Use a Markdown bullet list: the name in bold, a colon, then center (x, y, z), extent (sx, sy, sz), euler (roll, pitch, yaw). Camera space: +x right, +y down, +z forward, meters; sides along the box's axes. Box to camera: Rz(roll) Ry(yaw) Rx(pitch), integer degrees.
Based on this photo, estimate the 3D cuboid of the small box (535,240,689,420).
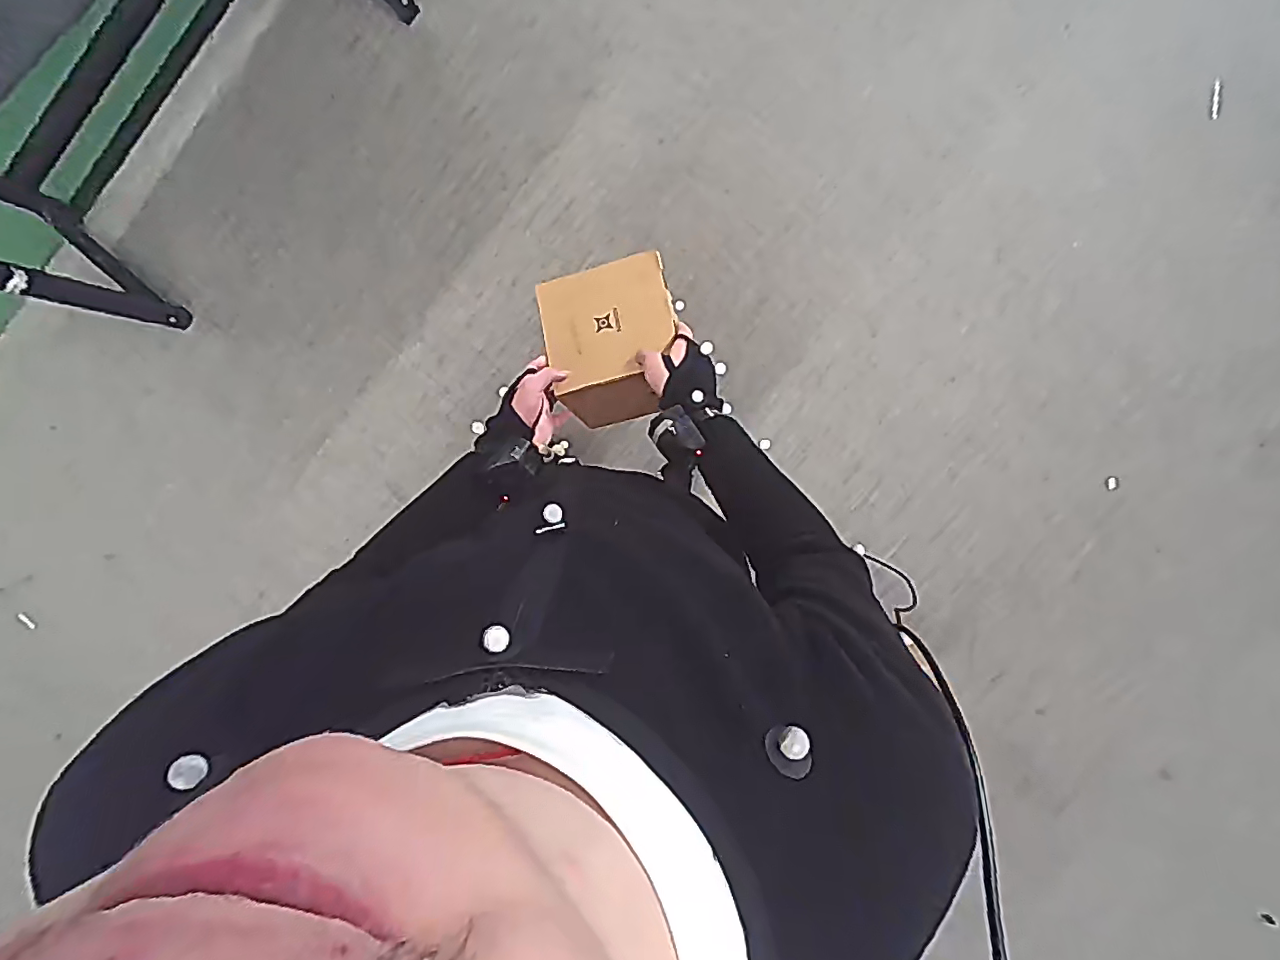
- **small box**: center (-0.030, -0.200, 0.768), extent (0.179, 0.176, 0.168), euler (-12, 76, 9)
